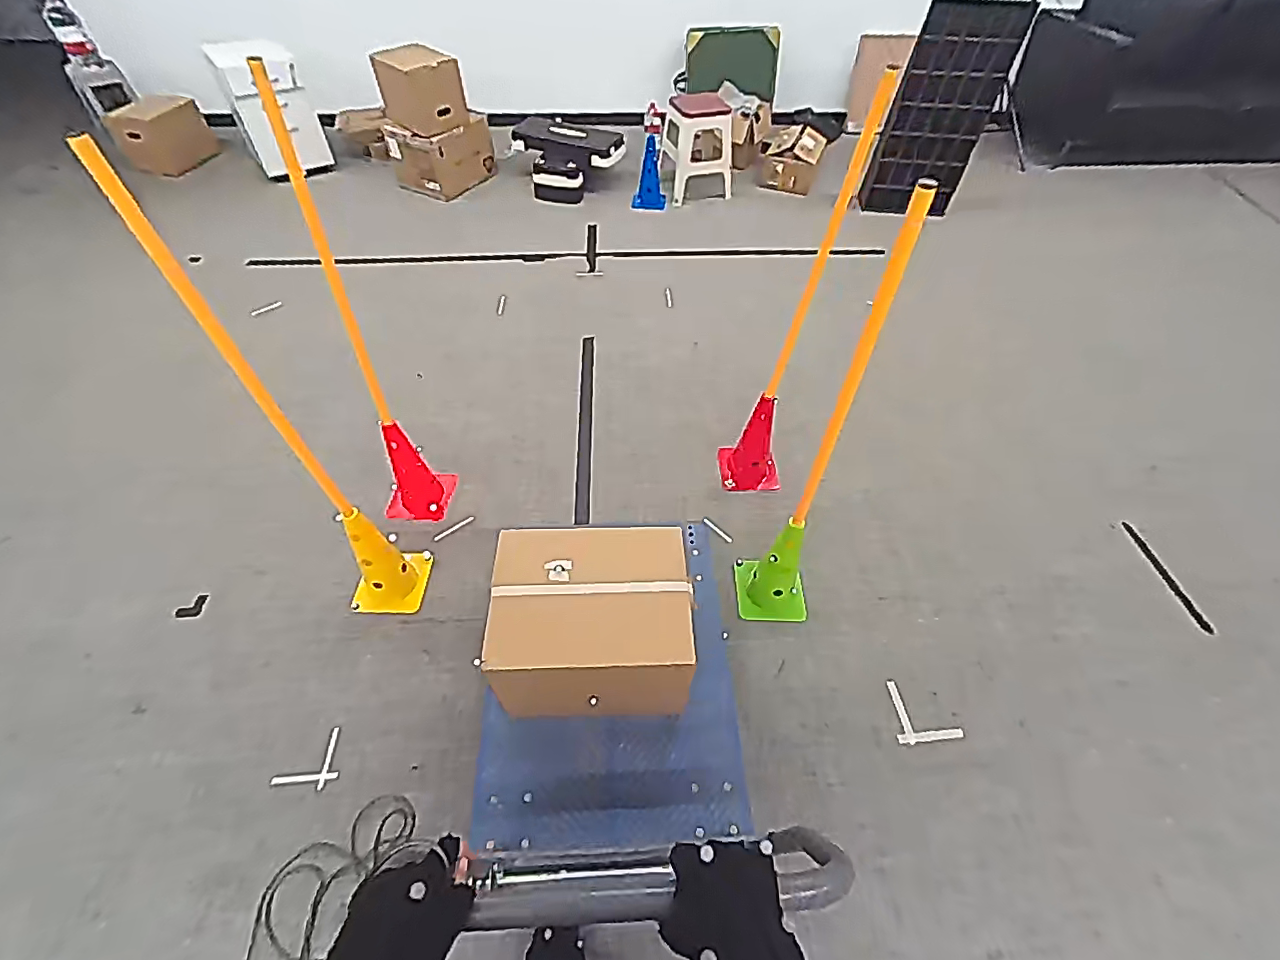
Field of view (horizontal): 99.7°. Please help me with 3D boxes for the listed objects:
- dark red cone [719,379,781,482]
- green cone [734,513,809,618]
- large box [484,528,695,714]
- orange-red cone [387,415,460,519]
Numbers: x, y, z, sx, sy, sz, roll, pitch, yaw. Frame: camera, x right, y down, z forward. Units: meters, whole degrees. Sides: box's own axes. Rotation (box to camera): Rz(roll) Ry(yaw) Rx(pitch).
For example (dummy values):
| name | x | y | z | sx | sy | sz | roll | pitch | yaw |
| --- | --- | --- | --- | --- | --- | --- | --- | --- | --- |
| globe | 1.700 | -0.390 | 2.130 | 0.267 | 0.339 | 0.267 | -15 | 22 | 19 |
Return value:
| name | x | y | z | sx | sy | sz | roll | pitch | yaw |
| --- | --- | --- | --- | --- | --- | --- | --- | --- | --- |
| dark red cone | 0.398 | -0.171 | 1.802 | 0.201 | 0.394 | 0.202 | 0 | 51 | -4 |
| green cone | 0.398 | 0.216 | 1.508 | 0.202 | 0.368 | 0.200 | 3 | 51 | -1 |
| large box | -0.100 | 0.324 | 1.222 | 0.408 | 0.320 | 0.320 | -1 | 51 | -1 |
| orange-red cone | -0.728 | -0.067 | 1.713 | 0.198 | 0.360 | 0.199 | 5 | 49 | 2 |
